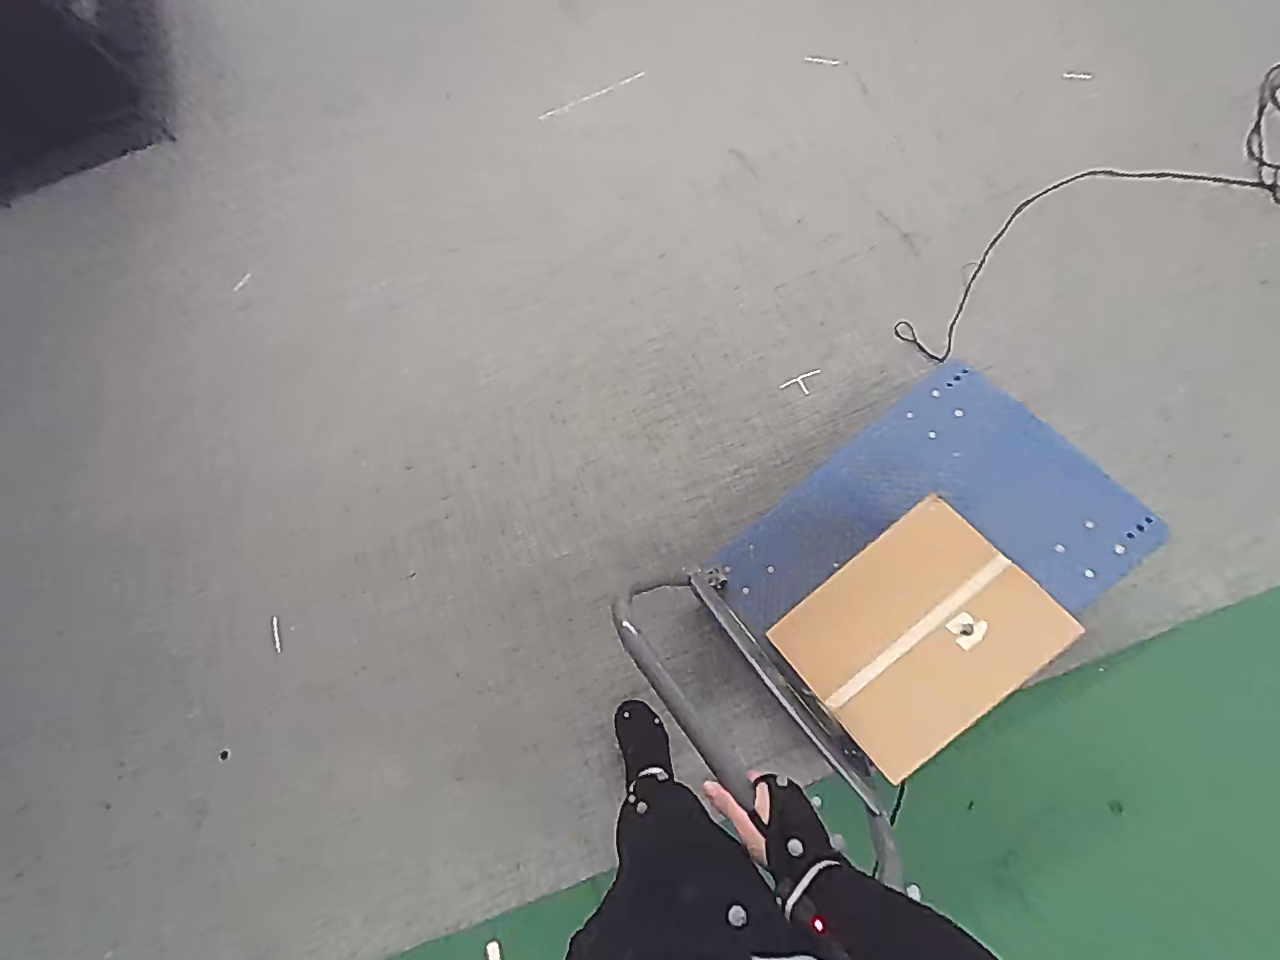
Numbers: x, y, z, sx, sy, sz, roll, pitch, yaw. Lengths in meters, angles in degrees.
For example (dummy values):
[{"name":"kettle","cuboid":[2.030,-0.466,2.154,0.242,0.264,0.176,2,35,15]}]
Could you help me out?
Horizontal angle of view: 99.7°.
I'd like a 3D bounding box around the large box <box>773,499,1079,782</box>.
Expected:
[{"name":"large box","cuboid":[0.521,0.308,1.084,0.408,0.320,0.320,-40,70,2]}]
